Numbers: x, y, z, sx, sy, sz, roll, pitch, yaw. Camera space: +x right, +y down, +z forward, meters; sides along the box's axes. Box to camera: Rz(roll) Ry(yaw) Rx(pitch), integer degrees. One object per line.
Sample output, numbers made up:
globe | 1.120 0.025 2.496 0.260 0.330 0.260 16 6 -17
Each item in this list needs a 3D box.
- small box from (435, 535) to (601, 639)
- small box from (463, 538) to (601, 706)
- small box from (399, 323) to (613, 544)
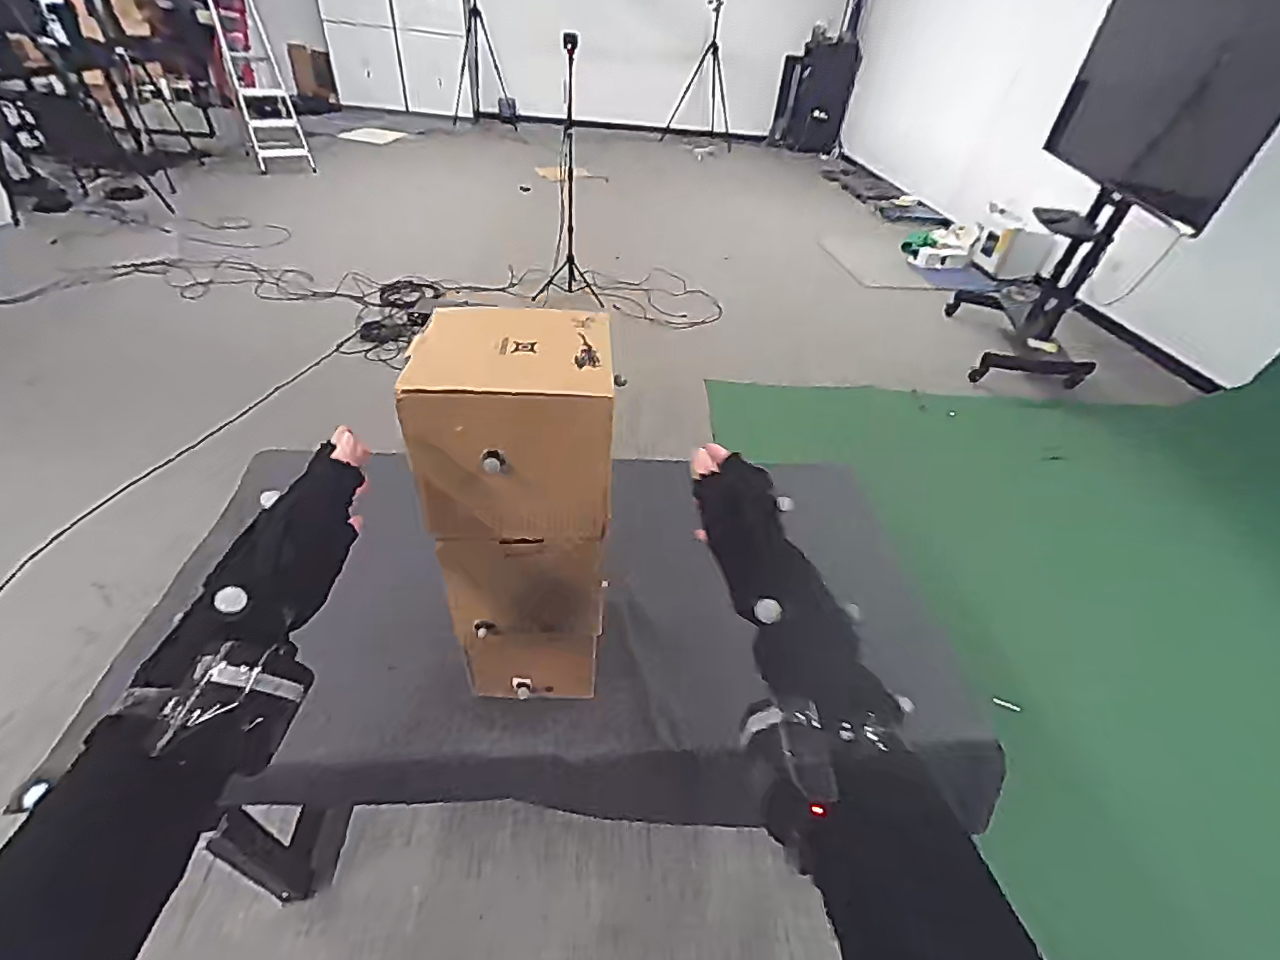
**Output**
small box | -0.132 0.077 0.651 0.168 0.176 0.179 -1 39 -7
small box | -0.140 0.196 0.764 0.168 0.176 0.179 1 41 -4
small box | -0.120 -0.048 0.550 0.179 0.176 0.168 -2 38 -8
